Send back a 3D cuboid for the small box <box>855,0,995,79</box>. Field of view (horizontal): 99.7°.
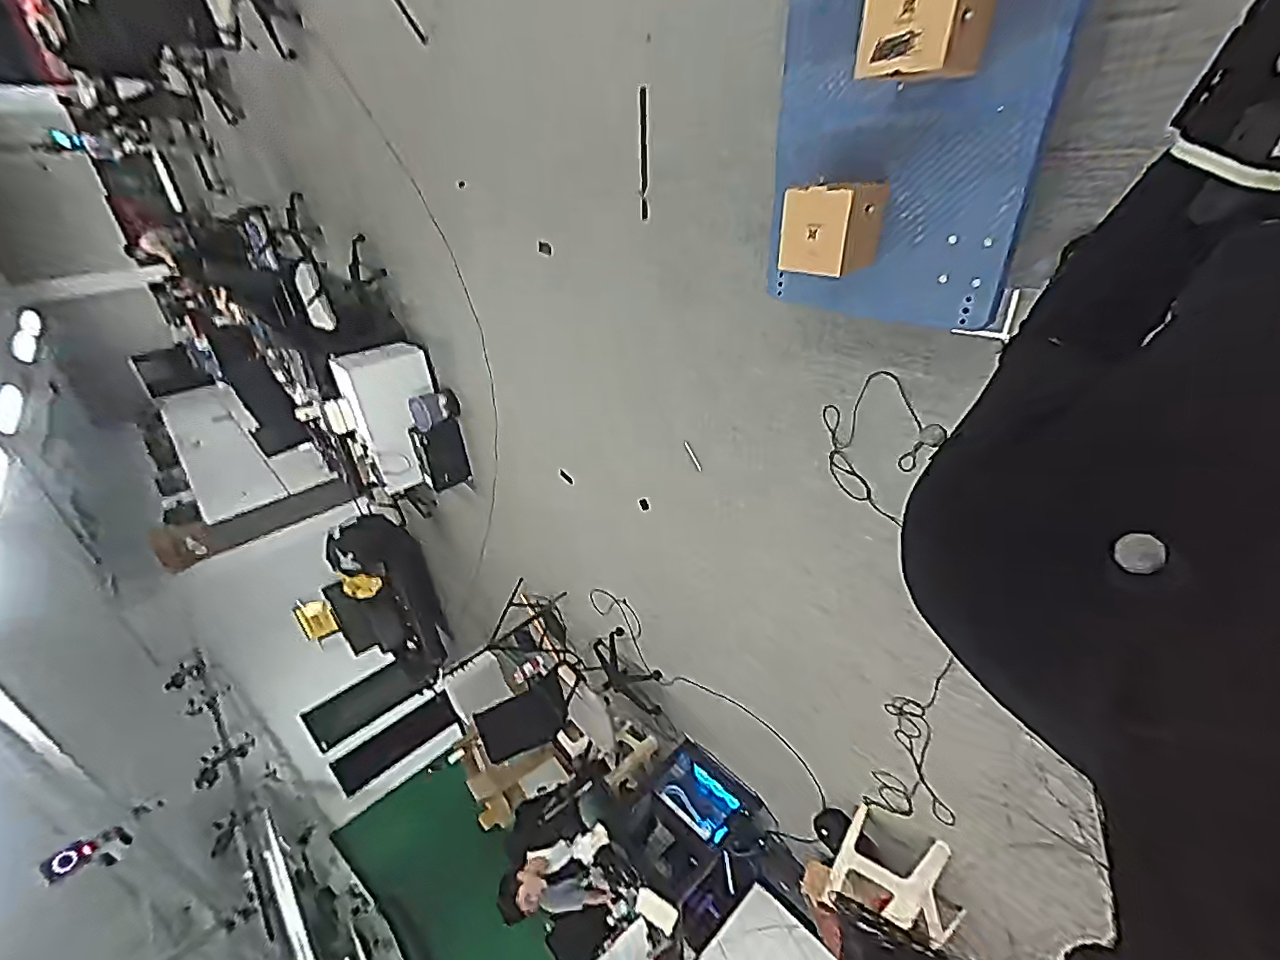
[{"bbox_3d":[0.521,-0.840,0.977,0.168,0.176,0.179,29,133,39],"label":"small box"}]

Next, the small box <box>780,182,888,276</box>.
[{"bbox_3d":[0.448,-0.584,1.247,0.168,0.176,0.179,28,134,41],"label":"small box"}]
